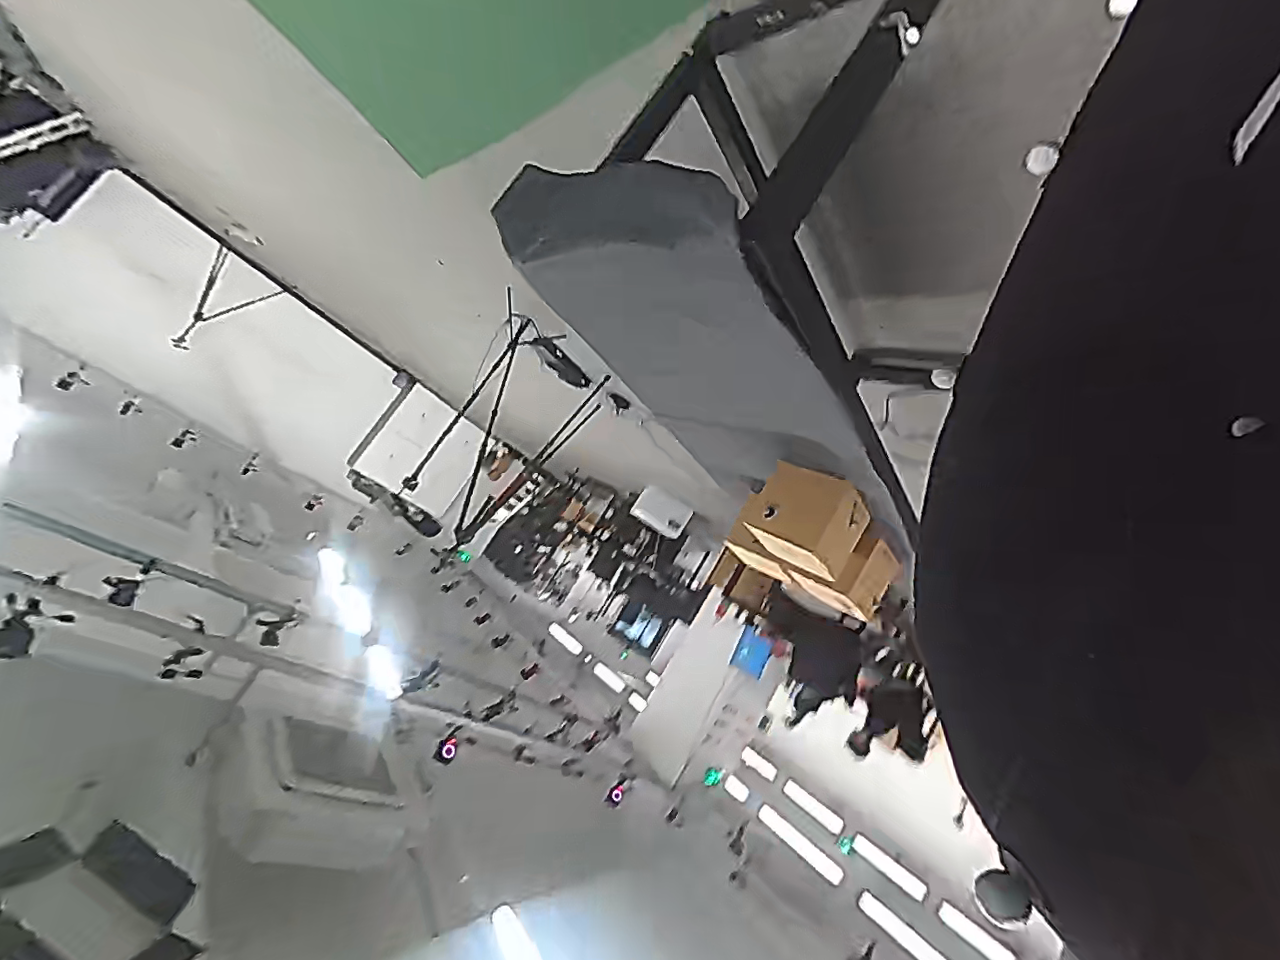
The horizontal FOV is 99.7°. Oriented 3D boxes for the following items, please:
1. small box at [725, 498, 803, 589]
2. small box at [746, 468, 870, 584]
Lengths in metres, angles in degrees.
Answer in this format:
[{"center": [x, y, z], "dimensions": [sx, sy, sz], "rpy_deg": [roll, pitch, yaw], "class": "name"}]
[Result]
[{"center": [0.374, 0.169, 1.502], "dimensions": [0.179, 0.176, 0.168], "rpy_deg": [20, 163, 46], "class": "small box"}, {"center": [0.369, 0.093, 1.179], "dimensions": [0.179, 0.176, 0.168], "rpy_deg": [23, 165, 44], "class": "small box"}]
